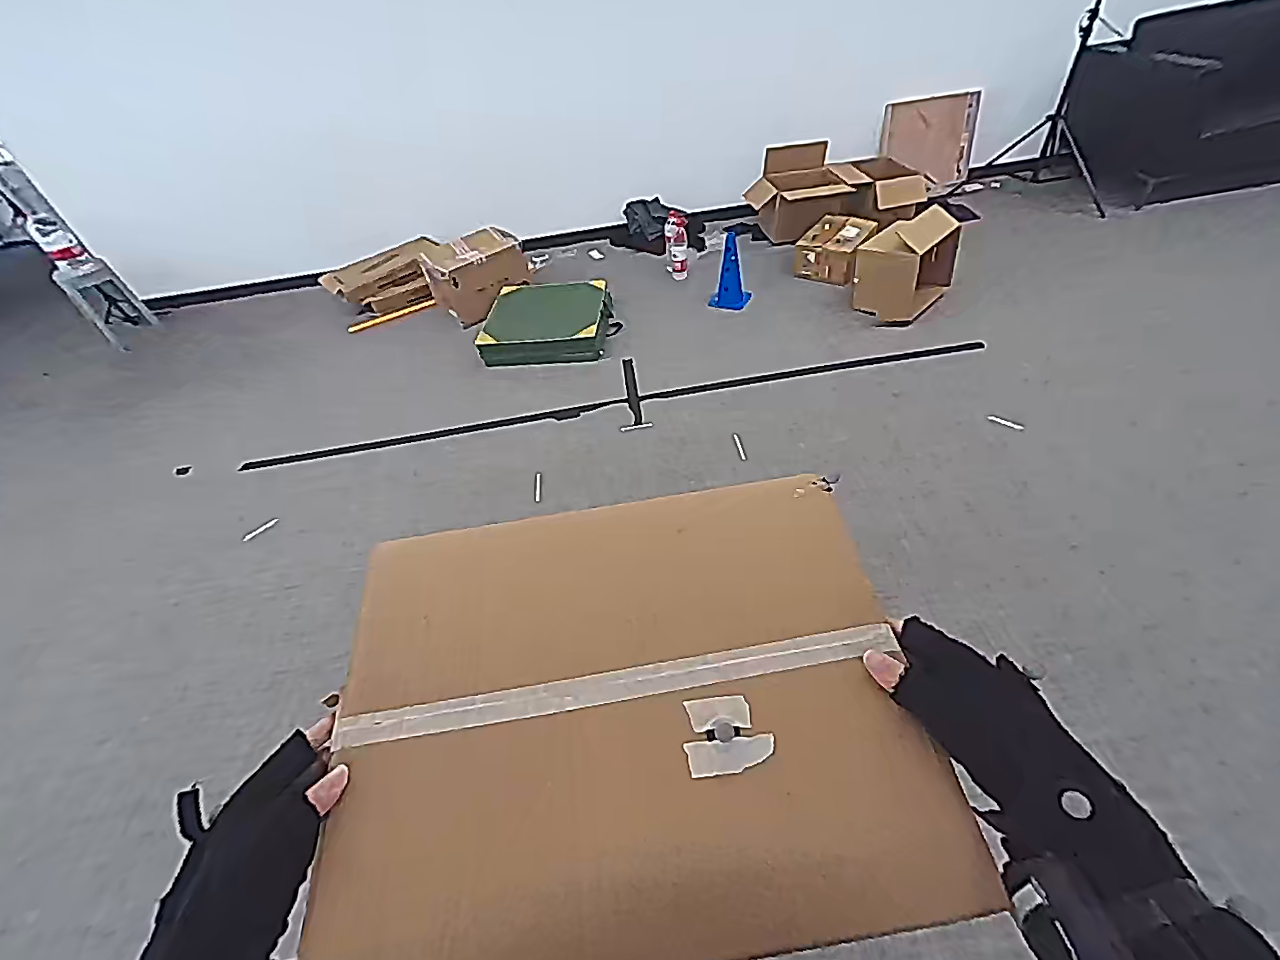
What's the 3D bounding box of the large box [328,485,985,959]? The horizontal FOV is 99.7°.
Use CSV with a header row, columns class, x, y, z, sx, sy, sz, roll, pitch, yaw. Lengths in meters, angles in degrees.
class,x,y,z,sx,sy,sz,roll,pitch,yaw
large box,-0.001,0.247,0.520,0.408,0.320,0.320,-9,53,-2
